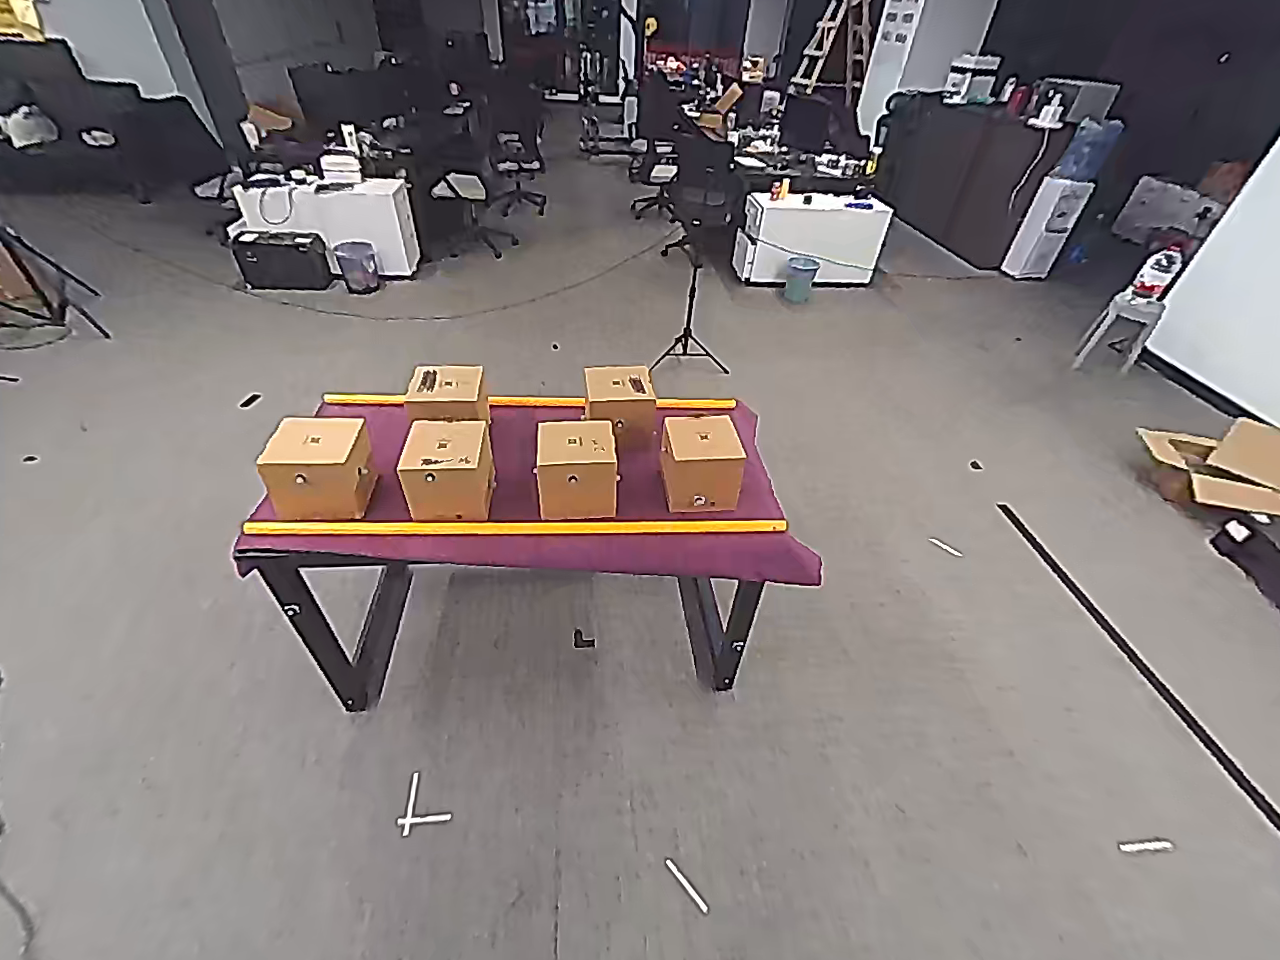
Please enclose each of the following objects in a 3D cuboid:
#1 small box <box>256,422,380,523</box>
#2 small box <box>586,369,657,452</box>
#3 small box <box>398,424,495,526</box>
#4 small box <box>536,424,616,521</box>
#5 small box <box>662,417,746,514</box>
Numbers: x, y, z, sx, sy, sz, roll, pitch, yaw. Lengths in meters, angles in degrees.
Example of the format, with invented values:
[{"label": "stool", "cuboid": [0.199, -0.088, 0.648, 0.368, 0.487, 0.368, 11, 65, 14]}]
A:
[{"label": "small box", "cuboid": [-0.713, -0.015, 1.224, 0.179, 0.176, 0.168, -1, 41, -7]}, {"label": "small box", "cuboid": [-0.057, -0.187, 1.474, 0.179, 0.176, 0.168, -4, 42, -7]}, {"label": "small box", "cuboid": [-0.433, -0.012, 1.243, 0.168, 0.176, 0.179, -2, 41, -5]}, {"label": "small box", "cuboid": [-0.148, -0.017, 1.268, 0.179, 0.176, 0.168, -2, 40, -7]}, {"label": "small box", "cuboid": [0.147, -0.036, 1.312, 0.168, 0.176, 0.179, -3, 39, -5]}]
